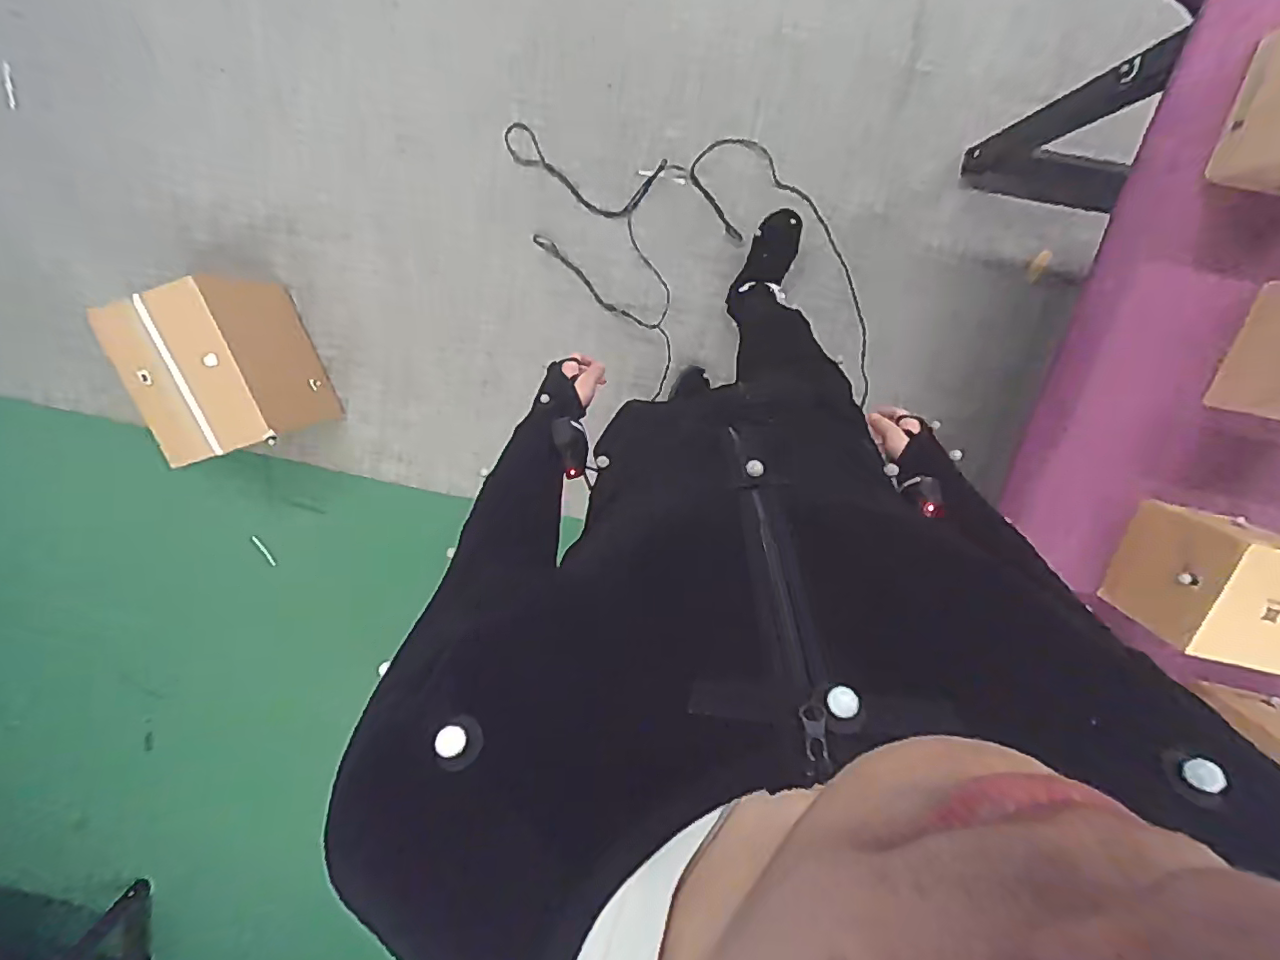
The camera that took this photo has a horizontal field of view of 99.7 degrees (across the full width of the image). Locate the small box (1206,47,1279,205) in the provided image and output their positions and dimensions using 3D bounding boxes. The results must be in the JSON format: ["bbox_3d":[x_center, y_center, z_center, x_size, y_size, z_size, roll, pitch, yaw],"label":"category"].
[{"bbox_3d":[0.838,-0.422,0.616,0.179,0.176,0.168,9,107,-1],"label":"small box"}]

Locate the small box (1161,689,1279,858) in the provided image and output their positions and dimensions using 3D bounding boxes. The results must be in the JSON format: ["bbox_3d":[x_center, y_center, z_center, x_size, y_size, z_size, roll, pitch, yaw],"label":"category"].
[{"bbox_3d":[1.012,0.476,0.870,0.168,0.176,0.179,14,106,1],"label":"small box"}]

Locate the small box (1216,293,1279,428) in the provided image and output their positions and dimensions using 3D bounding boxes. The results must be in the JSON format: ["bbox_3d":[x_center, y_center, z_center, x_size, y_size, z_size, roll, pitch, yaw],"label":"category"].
[{"bbox_3d":[0.923,-0.141,0.696,0.168,0.176,0.179,12,107,0],"label":"small box"}]

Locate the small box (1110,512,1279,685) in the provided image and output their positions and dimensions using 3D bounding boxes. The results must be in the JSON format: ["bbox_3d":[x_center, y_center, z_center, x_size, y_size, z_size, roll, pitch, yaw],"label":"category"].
[{"bbox_3d":[0.853,0.167,0.793,0.168,0.176,0.179,12,105,0],"label":"small box"}]
